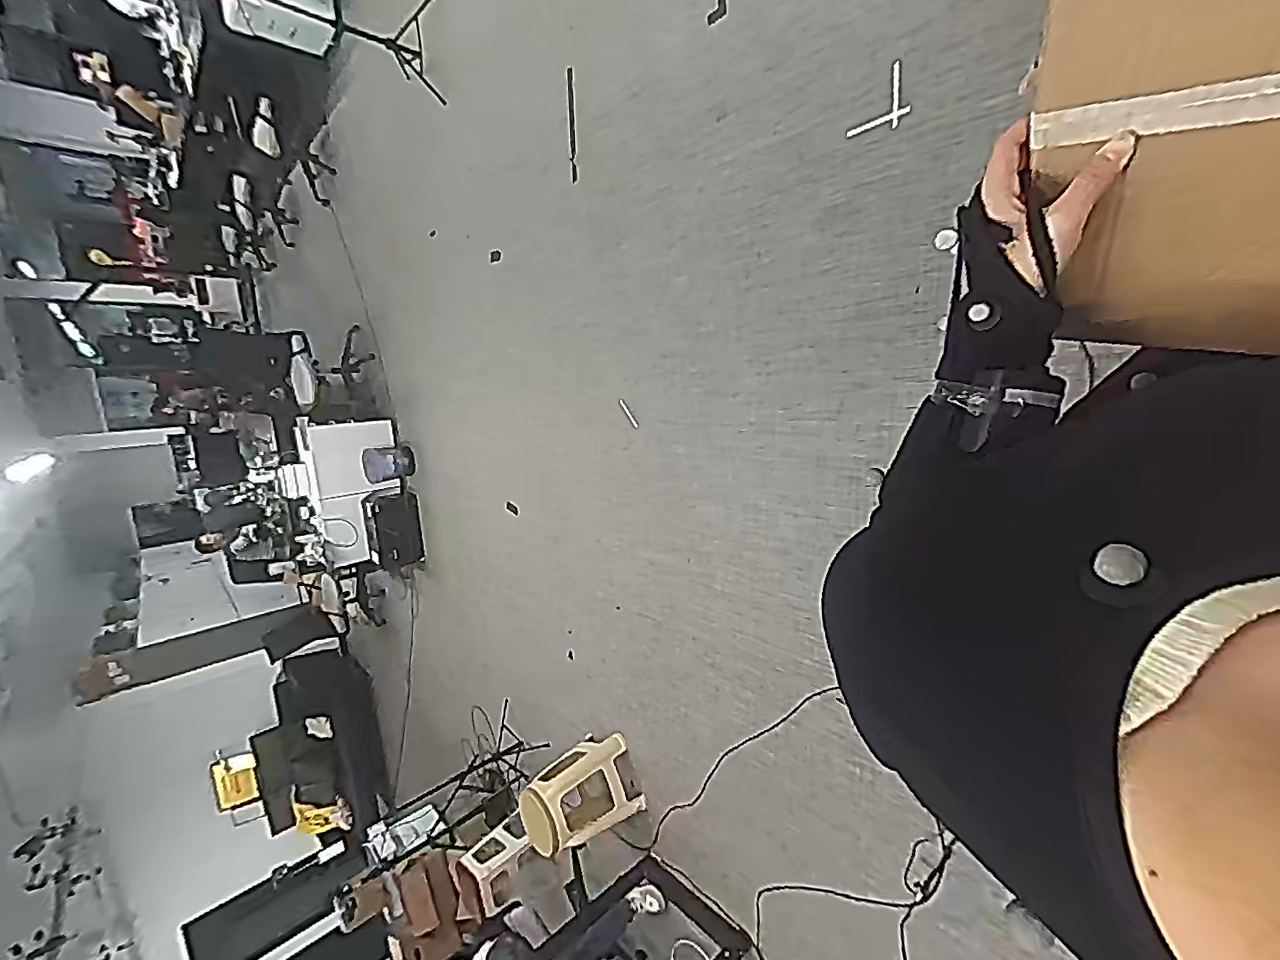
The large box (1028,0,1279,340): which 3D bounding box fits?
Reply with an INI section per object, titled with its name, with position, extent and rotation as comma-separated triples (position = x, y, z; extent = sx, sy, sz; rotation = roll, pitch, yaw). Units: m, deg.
[large box]
position = 0.493, -0.285, 0.283
extent = 0.408, 0.320, 0.320
rotation = 19, 148, 42
